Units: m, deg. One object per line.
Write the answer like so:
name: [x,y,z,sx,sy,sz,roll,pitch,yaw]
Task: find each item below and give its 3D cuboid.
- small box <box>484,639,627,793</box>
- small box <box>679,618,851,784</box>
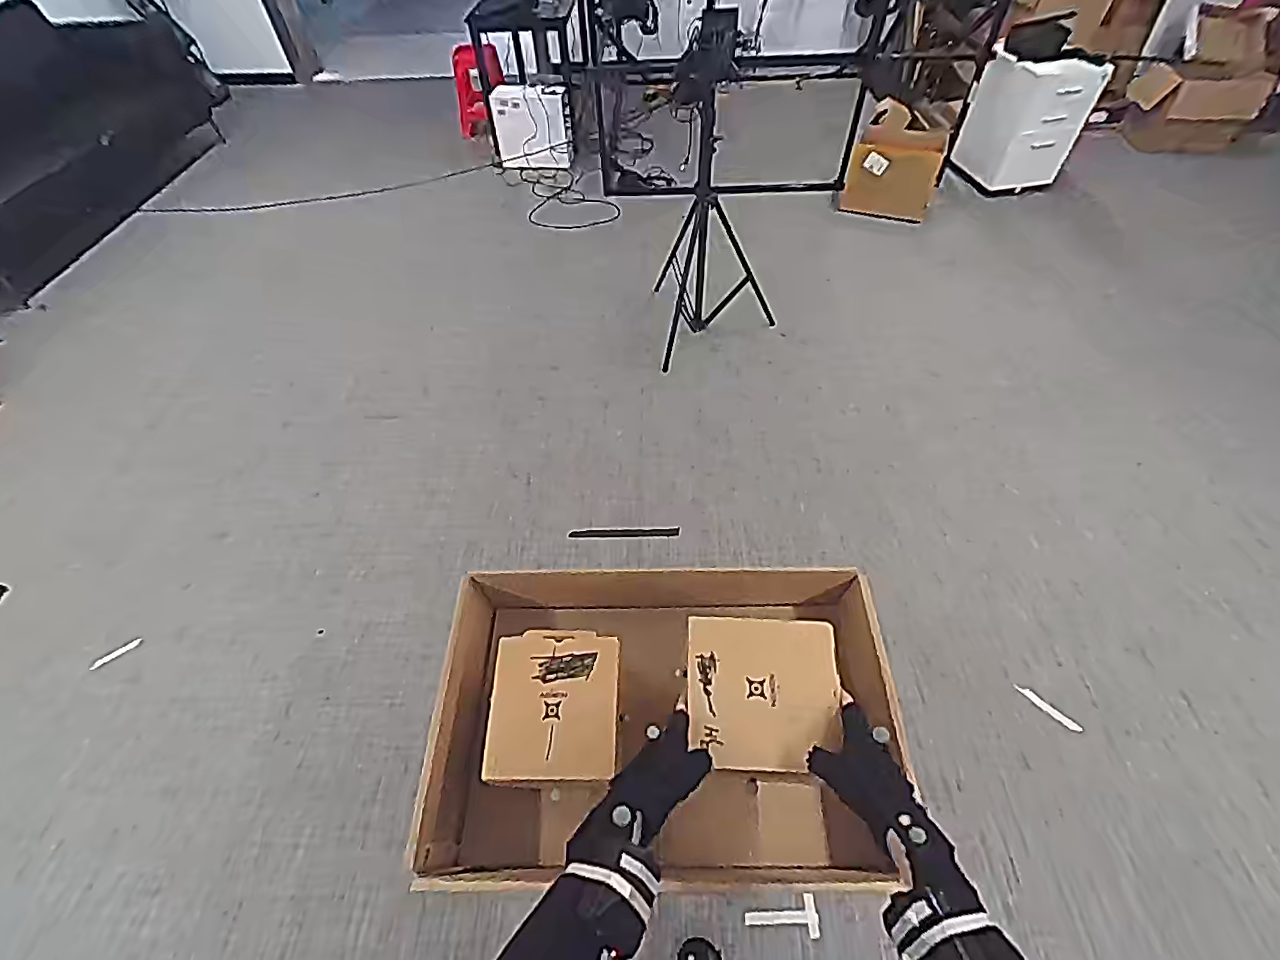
small box: [-0.107,0.337,0.765,0.168,0.176,0.179,-1,57,1]
small box: [0.144,0.285,0.686,0.179,0.176,0.168,2,58,2]
